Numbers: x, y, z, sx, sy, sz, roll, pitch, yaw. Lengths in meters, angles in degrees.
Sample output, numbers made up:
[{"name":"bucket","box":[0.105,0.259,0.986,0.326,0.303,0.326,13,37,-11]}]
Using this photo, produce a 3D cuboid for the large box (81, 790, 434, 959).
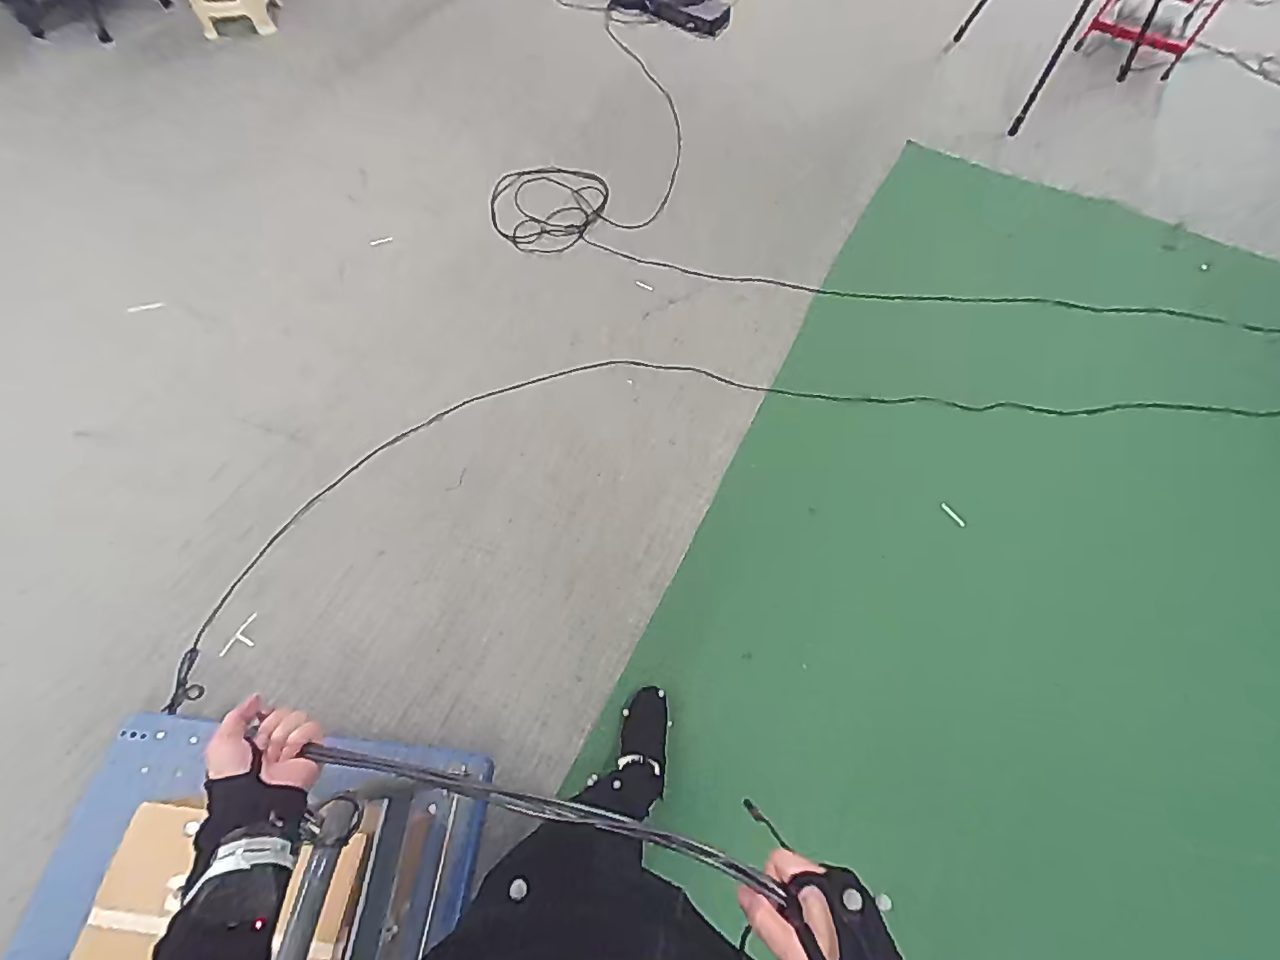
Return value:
[{"name":"large box","box":[-0.651,0.769,0.979,0.408,0.320,0.320,5,63,4]}]
